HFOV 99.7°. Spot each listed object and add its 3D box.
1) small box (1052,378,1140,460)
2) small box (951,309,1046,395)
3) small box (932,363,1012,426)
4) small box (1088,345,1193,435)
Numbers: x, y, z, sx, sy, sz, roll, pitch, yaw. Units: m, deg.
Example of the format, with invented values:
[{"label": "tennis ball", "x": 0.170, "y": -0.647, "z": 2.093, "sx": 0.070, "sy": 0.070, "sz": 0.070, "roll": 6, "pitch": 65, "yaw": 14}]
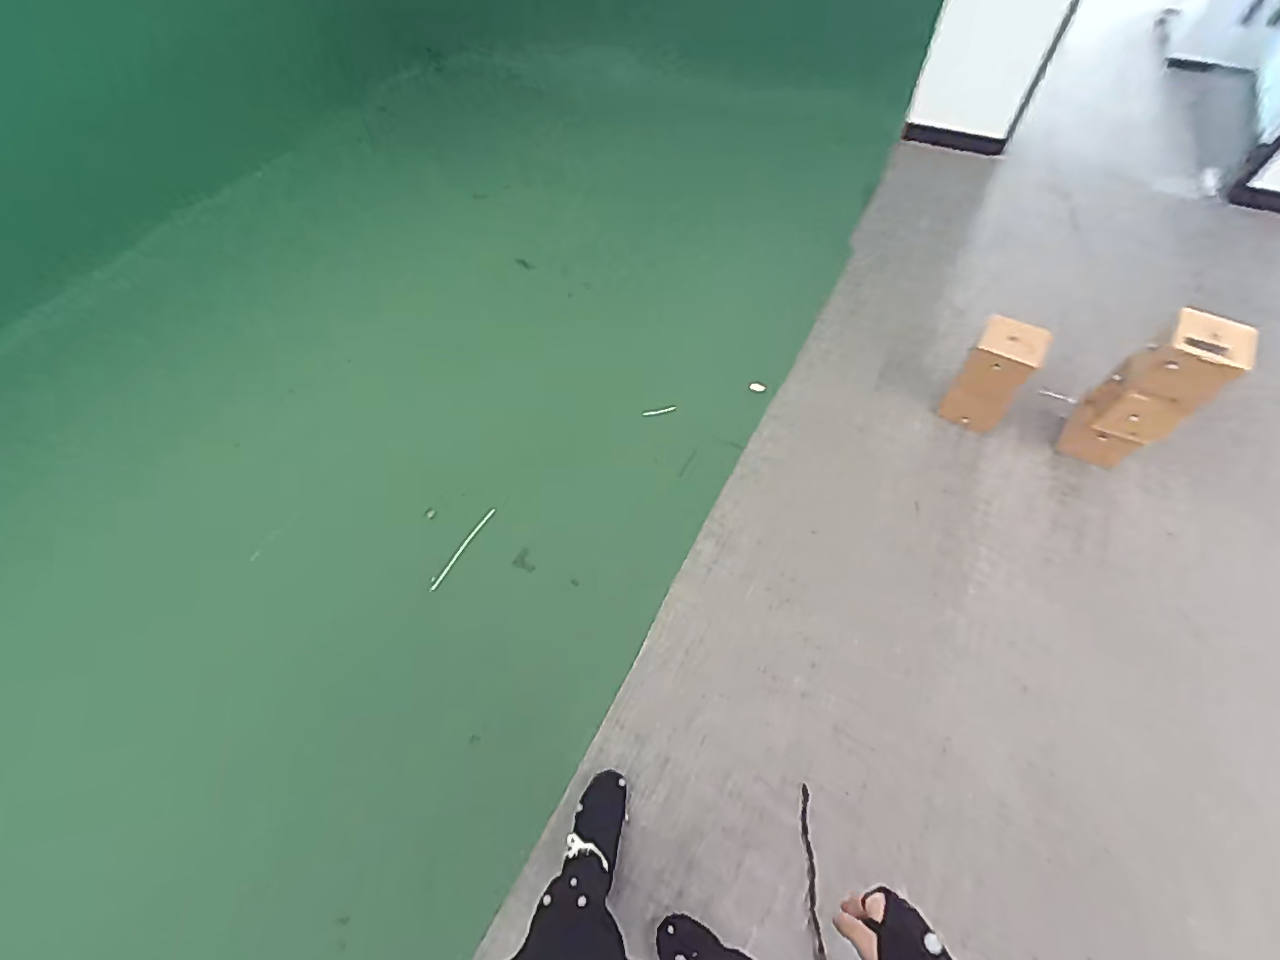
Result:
[{"label": "small box", "x": 1.467, "y": -0.191, "z": 1.727, "sx": 0.179, "sy": 0.176, "sz": 0.168, "roll": 25, "pitch": 65, "yaw": 17}, {"label": "small box", "x": 1.108, "y": -0.394, "z": 1.684, "sx": 0.179, "sy": 0.176, "sz": 0.168, "roll": 27, "pitch": 66, "yaw": 18}, {"label": "small box", "x": 1.125, "y": -0.306, "z": 1.823, "sx": 0.179, "sy": 0.176, "sz": 0.168, "roll": 26, "pitch": 65, "yaw": 18}, {"label": "small box", "x": 1.454, "y": -0.258, "z": 1.580, "sx": 0.168, "sy": 0.176, "sz": 0.179, "roll": 21, "pitch": 63, "yaw": 16}]
